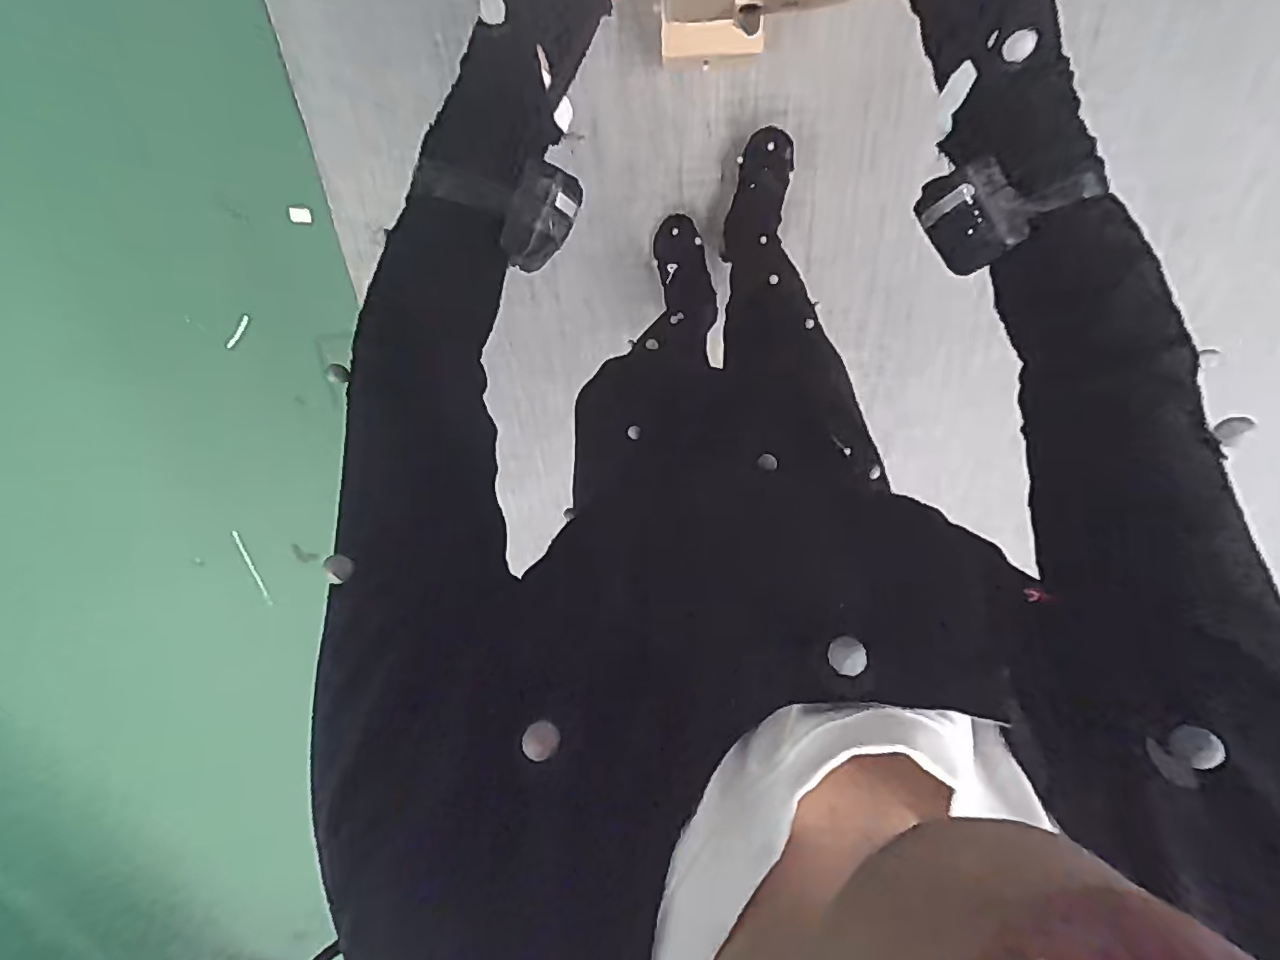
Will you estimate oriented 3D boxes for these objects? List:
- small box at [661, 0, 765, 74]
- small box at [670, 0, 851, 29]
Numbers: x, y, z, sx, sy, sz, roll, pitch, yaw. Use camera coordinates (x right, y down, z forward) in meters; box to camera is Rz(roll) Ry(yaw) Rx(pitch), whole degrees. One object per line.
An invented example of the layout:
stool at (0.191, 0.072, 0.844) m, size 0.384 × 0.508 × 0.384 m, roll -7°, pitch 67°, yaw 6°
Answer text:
small box at (0.126, -0.843, 0.968) m, size 0.179 × 0.176 × 0.168 m, roll 0°, pitch 120°, yaw 4°
small box at (0.094, -0.452, 0.374) m, size 0.168 × 0.176 × 0.179 m, roll -2°, pitch 118°, yaw 7°
